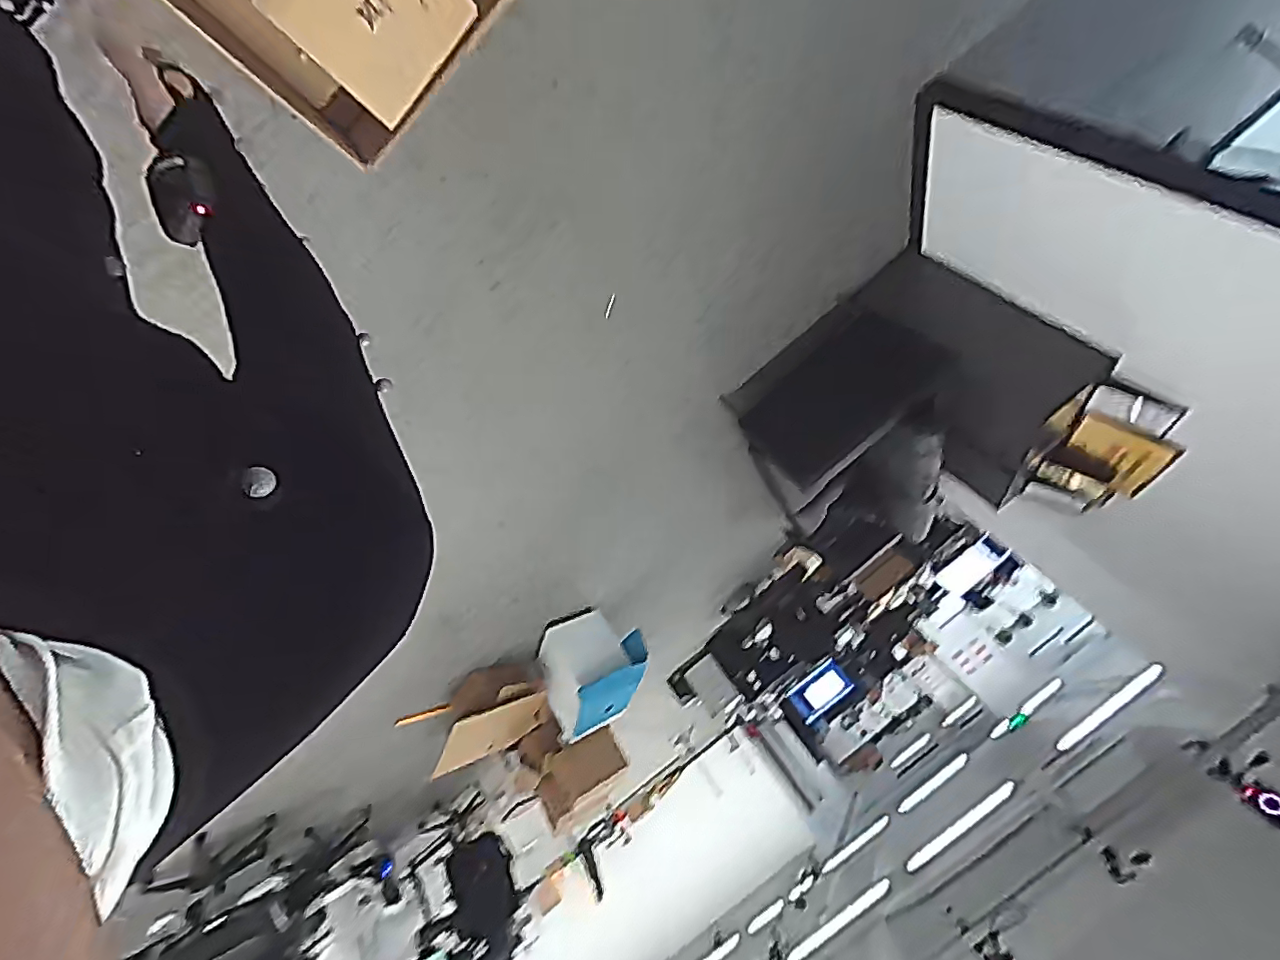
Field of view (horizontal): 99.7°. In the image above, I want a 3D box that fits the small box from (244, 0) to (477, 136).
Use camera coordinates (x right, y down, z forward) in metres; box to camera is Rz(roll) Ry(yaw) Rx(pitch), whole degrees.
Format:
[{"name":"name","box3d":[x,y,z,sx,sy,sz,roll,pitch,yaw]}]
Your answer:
[{"name":"small box","box3d":[-0.330,-0.556,0.626,0.179,0.176,0.168,-45,148,11]}]
